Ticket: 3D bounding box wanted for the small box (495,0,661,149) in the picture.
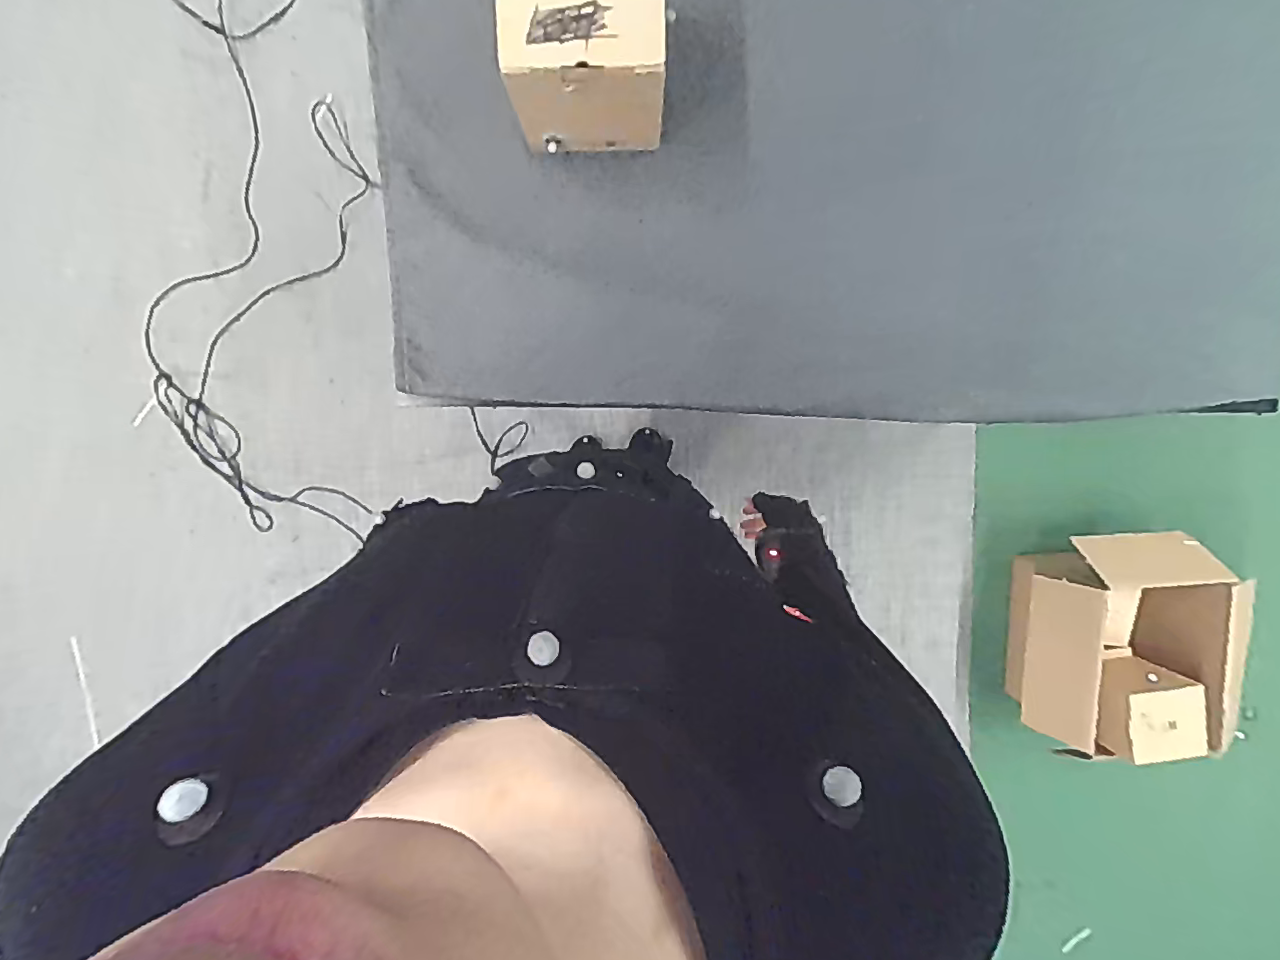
[{"bbox_3d":[-0.061,-0.495,0.603,0.168,0.176,0.179,-1,97,-1],"label":"small box"}]
